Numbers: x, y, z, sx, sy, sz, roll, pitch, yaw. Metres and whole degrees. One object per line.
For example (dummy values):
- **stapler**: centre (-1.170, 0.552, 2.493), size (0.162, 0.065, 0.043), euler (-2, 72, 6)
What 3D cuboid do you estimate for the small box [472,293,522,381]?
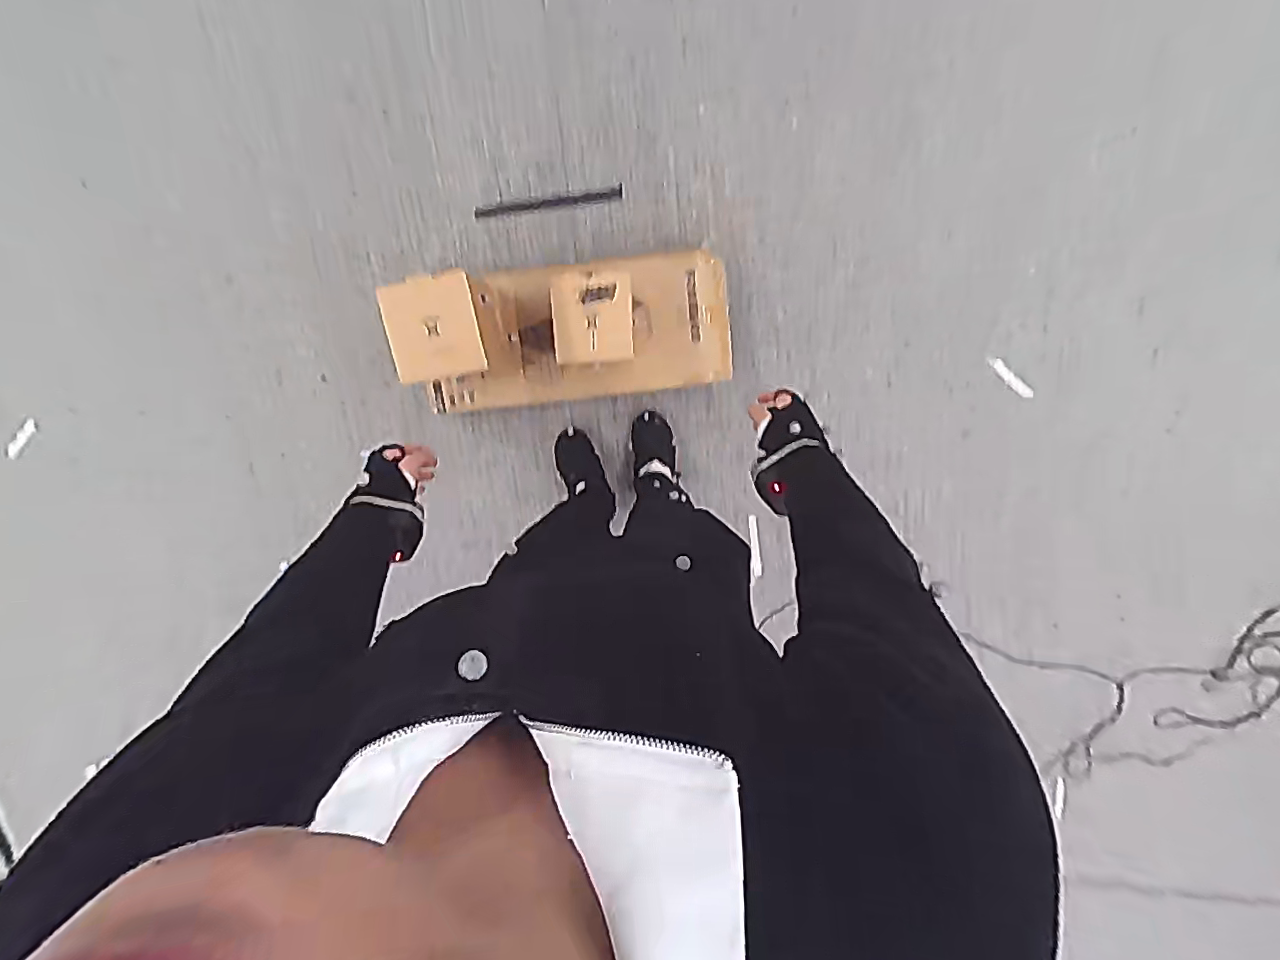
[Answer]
- **small box**: centre (-0.366, -0.312, 1.201), size (0.168, 0.176, 0.179), euler (-5, 102, 0)

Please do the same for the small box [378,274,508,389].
- **small box**: centre (-0.367, -0.278, 1.042), size (0.168, 0.176, 0.179), euler (-12, 102, 2)

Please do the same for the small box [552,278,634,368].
- **small box**: centre (-0.099, -0.341, 1.200), size (0.168, 0.176, 0.179), euler (-2, 102, 1)
